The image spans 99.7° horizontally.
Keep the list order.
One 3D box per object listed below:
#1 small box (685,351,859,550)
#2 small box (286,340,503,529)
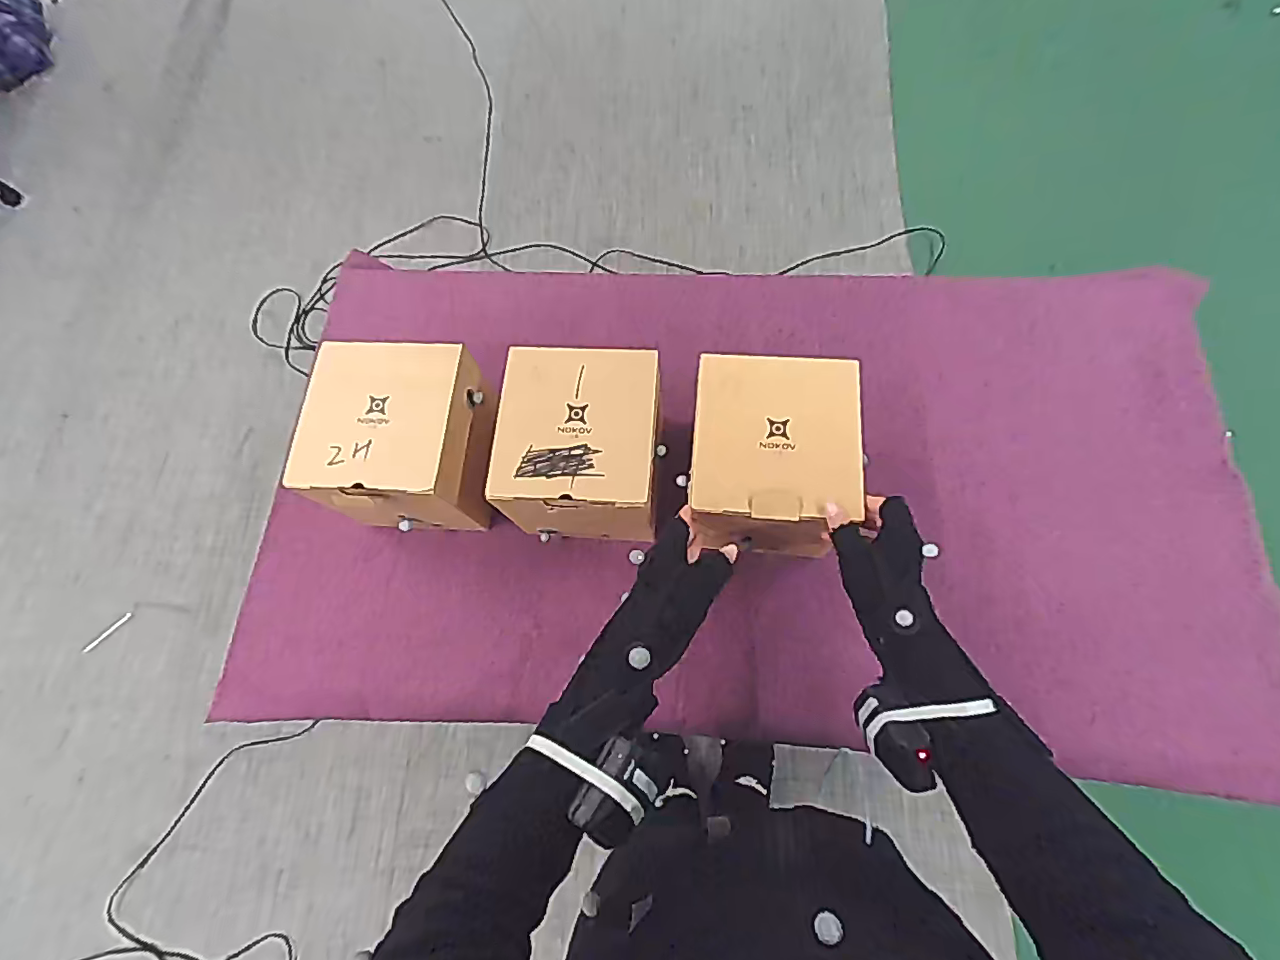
[{"bbox_3d":[0.140,-0.026,0.620,0.168,0.176,0.179,3,73,6],"label":"small box"},{"bbox_3d":[-0.277,-0.048,0.657,0.168,0.176,0.179,2,72,6],"label":"small box"}]
